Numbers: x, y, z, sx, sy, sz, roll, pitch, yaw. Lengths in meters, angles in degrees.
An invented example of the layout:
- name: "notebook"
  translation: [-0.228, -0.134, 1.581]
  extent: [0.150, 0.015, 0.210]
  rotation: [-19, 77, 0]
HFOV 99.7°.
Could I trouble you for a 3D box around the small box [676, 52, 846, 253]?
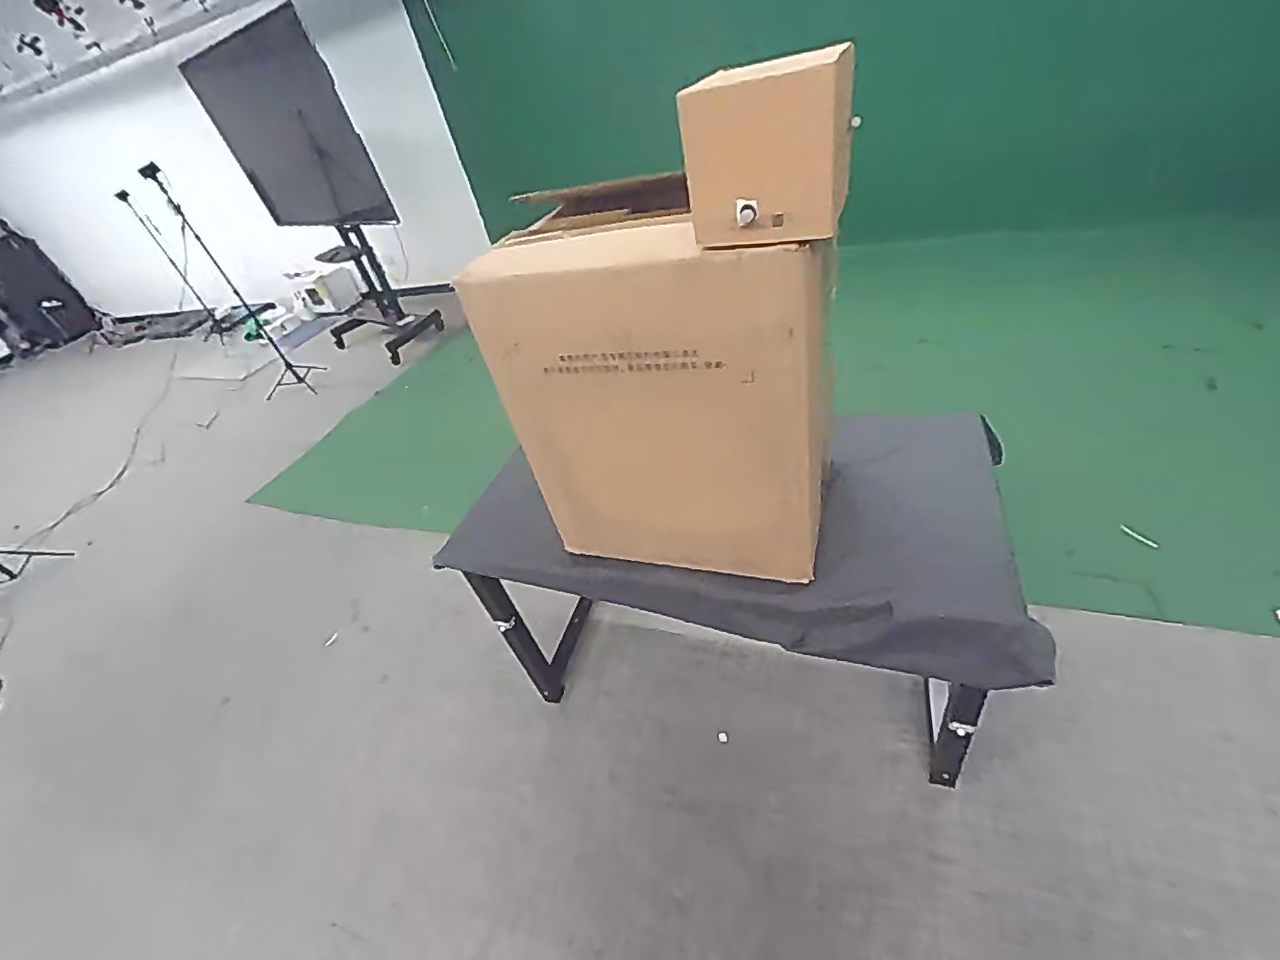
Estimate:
- name: "small box"
  translation: [0.157, -0.397, 0.666]
  extent: [0.168, 0.176, 0.179]
  rotation: [4, 43, 23]
